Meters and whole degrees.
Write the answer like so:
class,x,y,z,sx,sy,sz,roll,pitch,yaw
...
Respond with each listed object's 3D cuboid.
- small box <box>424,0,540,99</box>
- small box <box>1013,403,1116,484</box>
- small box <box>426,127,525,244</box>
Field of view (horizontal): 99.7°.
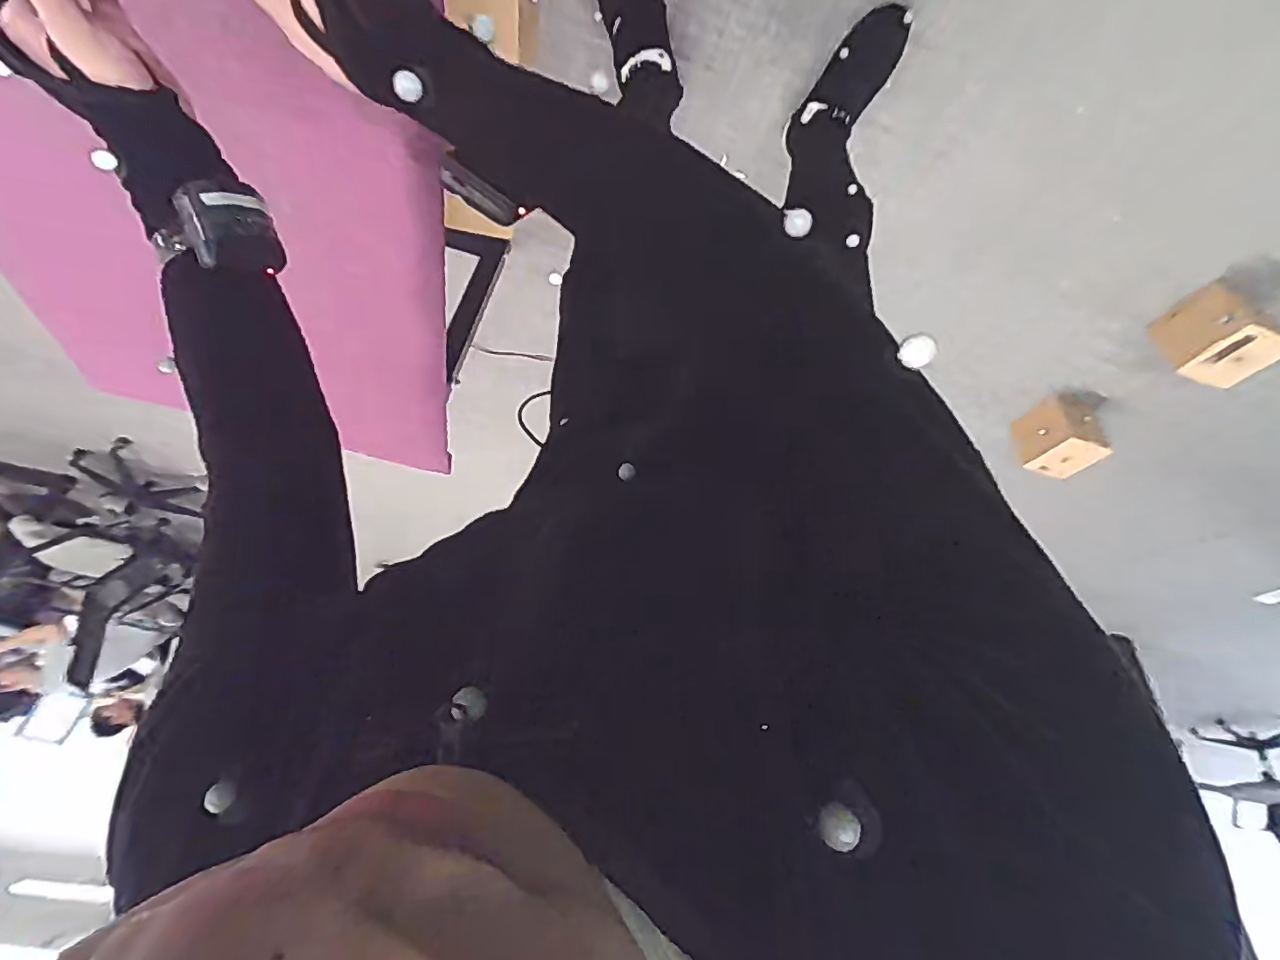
class,x,y,z,sx,sy,sz,roll,pitch,yaw
small box,-0.282,-0.846,0.987,0.168,0.176,0.179,12,146,-4
small box,1.340,-0.118,1.721,0.168,0.176,0.179,15,144,-11
small box,-0.366,-0.678,1.243,0.179,0.176,0.168,10,146,-3
